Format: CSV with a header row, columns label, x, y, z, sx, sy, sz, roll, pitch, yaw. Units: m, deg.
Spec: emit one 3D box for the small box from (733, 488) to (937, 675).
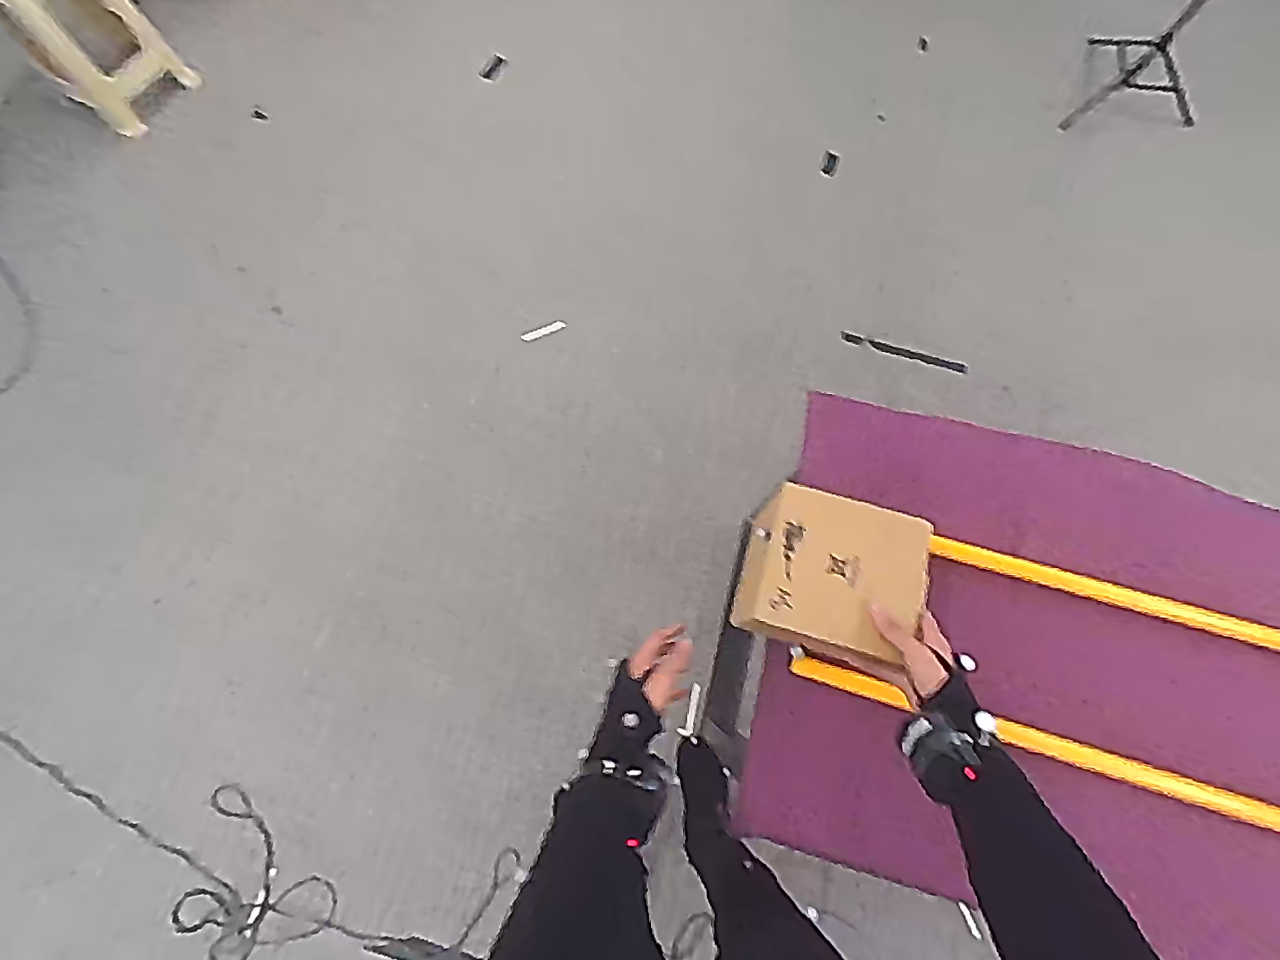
label,x,y,z,sx,sy,sz,roll,pitch,yaw
small box,0.230,0.130,0.674,0.179,0.176,0.168,17,73,5
